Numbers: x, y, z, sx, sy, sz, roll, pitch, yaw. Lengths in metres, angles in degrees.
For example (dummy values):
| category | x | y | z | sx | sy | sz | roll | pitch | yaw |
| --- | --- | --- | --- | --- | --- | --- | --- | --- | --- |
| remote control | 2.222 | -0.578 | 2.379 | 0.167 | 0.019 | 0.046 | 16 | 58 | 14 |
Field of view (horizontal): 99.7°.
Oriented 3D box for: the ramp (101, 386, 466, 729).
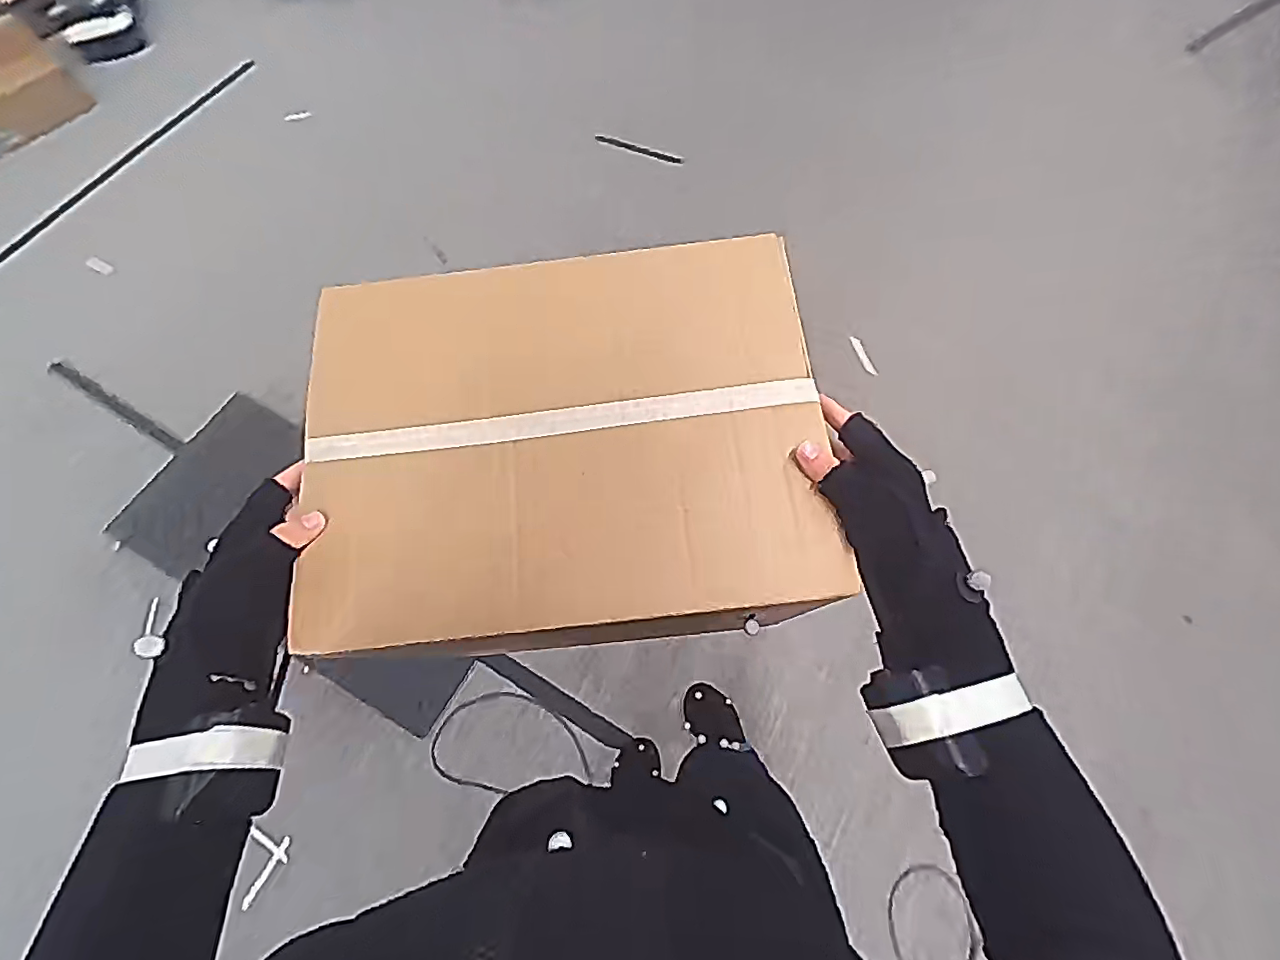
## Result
| category | x | y | z | sx | sy | sz | roll | pitch | yaw |
| --- | --- | --- | --- | --- | --- | --- | --- | --- | --- |
| ramp | -0.853 | 0.172 | 1.445 | 0.991 | 0.206 | 0.509 | 26 | 69 | 13 |

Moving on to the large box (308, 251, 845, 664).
| category | x | y | z | sx | sy | sz | roll | pitch | yaw |
| --- | --- | --- | --- | --- | --- | --- | --- | --- | --- |
| large box | -0.056 | 0.009 | 0.579 | 0.408 | 0.320 | 0.320 | -7 | 71 | 0 |
